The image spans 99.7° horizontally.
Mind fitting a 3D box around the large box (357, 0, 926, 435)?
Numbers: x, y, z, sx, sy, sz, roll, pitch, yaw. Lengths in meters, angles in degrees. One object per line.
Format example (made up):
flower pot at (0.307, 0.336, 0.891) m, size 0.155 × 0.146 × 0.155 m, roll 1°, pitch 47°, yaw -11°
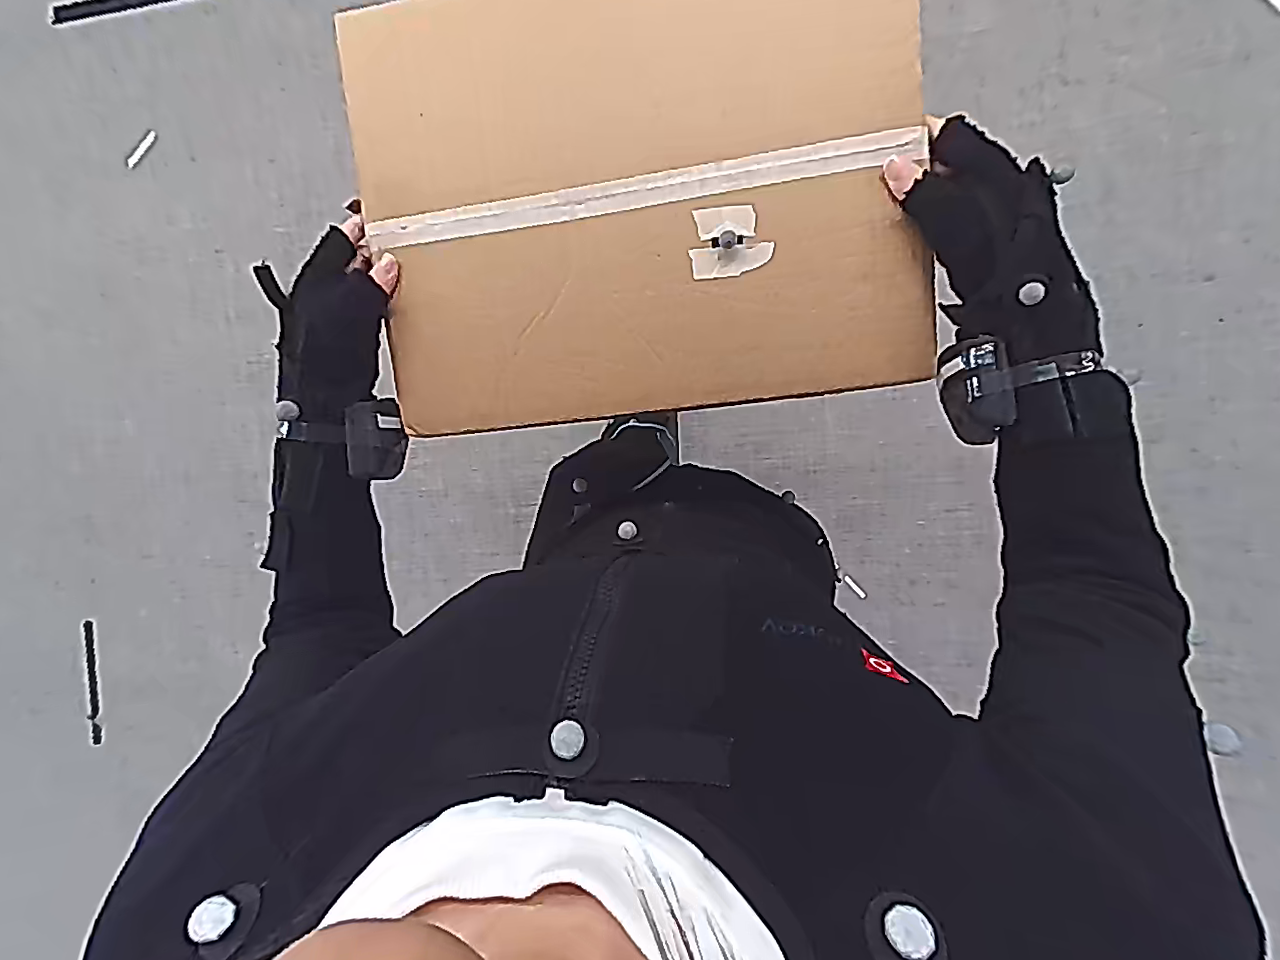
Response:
large box at (0.011, -0.230, 0.551) m, size 0.408 × 0.320 × 0.320 m, roll -6°, pitch 98°, yaw 7°
